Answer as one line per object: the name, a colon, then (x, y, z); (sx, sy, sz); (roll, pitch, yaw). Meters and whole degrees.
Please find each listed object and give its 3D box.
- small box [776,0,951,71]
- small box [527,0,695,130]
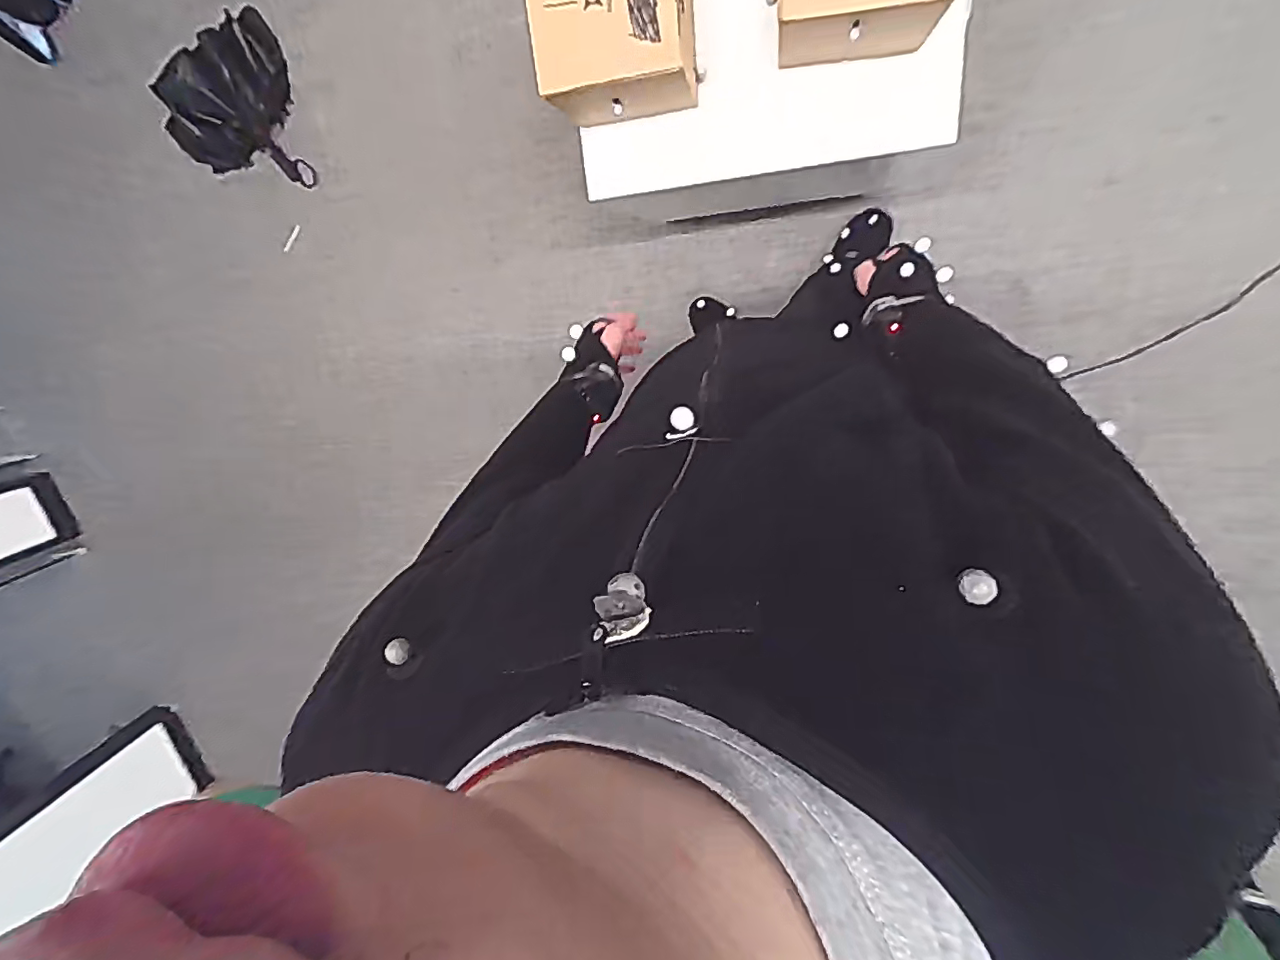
small box: (0.245, -0.584, 0.601); (0.179, 0.176, 0.168); (2, 113, 13)
small box: (-0.027, -0.560, 0.674); (0.179, 0.176, 0.168); (-1, 110, 14)
